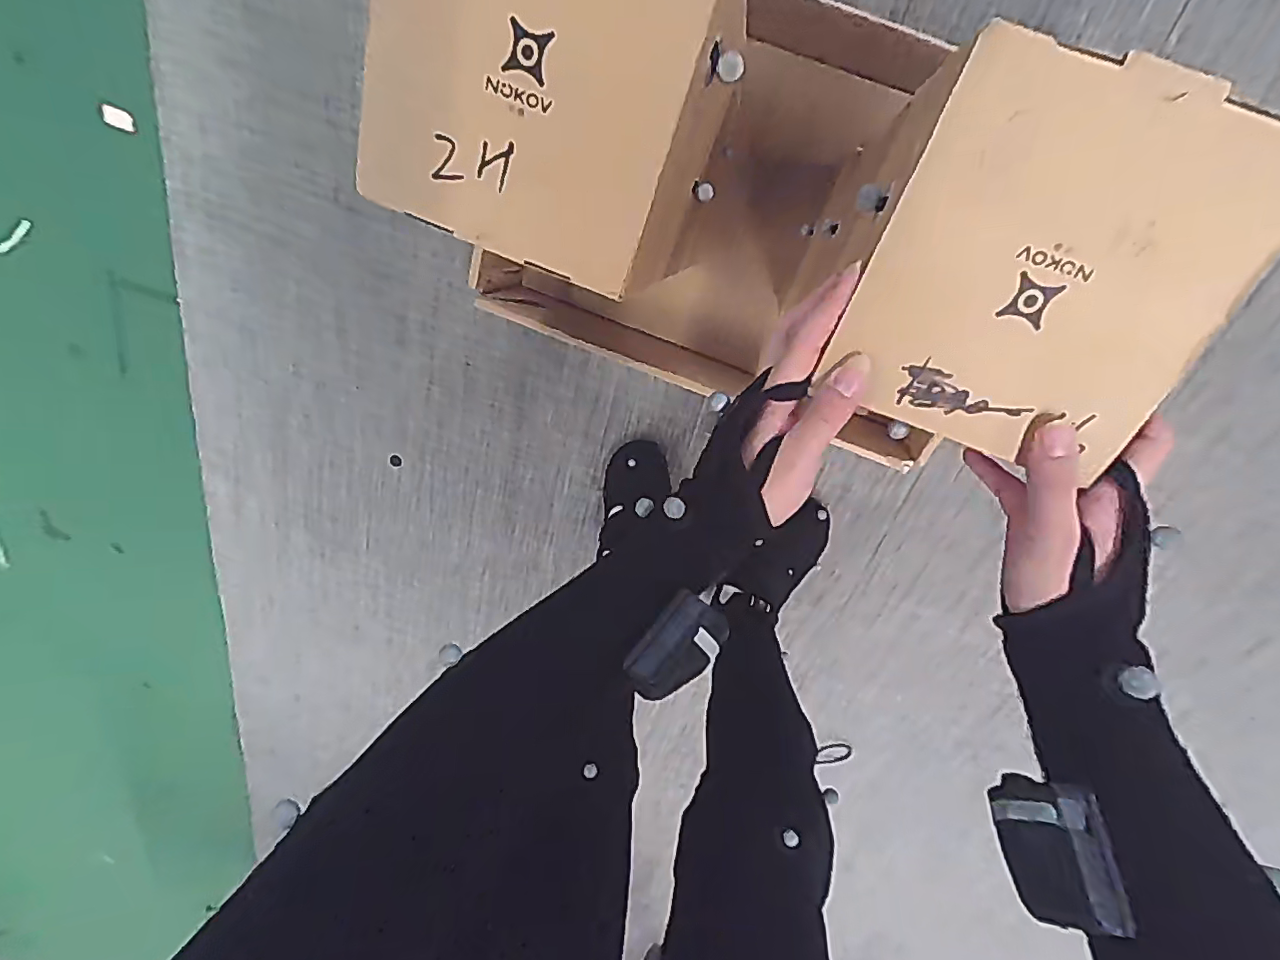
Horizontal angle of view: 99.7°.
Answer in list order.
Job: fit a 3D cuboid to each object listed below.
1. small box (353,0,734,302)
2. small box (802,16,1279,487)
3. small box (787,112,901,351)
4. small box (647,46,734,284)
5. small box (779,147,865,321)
[{"bbox_3d":[-0.047,-0.236,0.345,0.168,0.176,0.179,22,116,1],"label":"small box"},{"bbox_3d":[0.211,-0.128,0.336,0.168,0.176,0.179,22,116,4],"label":"small box"},{"bbox_3d":[0.245,-0.188,0.485,0.168,0.176,0.179,22,115,4],"label":"small box"},{"bbox_3d":[-0.023,-0.299,0.495,0.168,0.176,0.179,21,116,1],"label":"small box"},{"bbox_3d":[0.271,-0.255,0.632,0.168,0.176,0.179,23,117,4],"label":"small box"}]
